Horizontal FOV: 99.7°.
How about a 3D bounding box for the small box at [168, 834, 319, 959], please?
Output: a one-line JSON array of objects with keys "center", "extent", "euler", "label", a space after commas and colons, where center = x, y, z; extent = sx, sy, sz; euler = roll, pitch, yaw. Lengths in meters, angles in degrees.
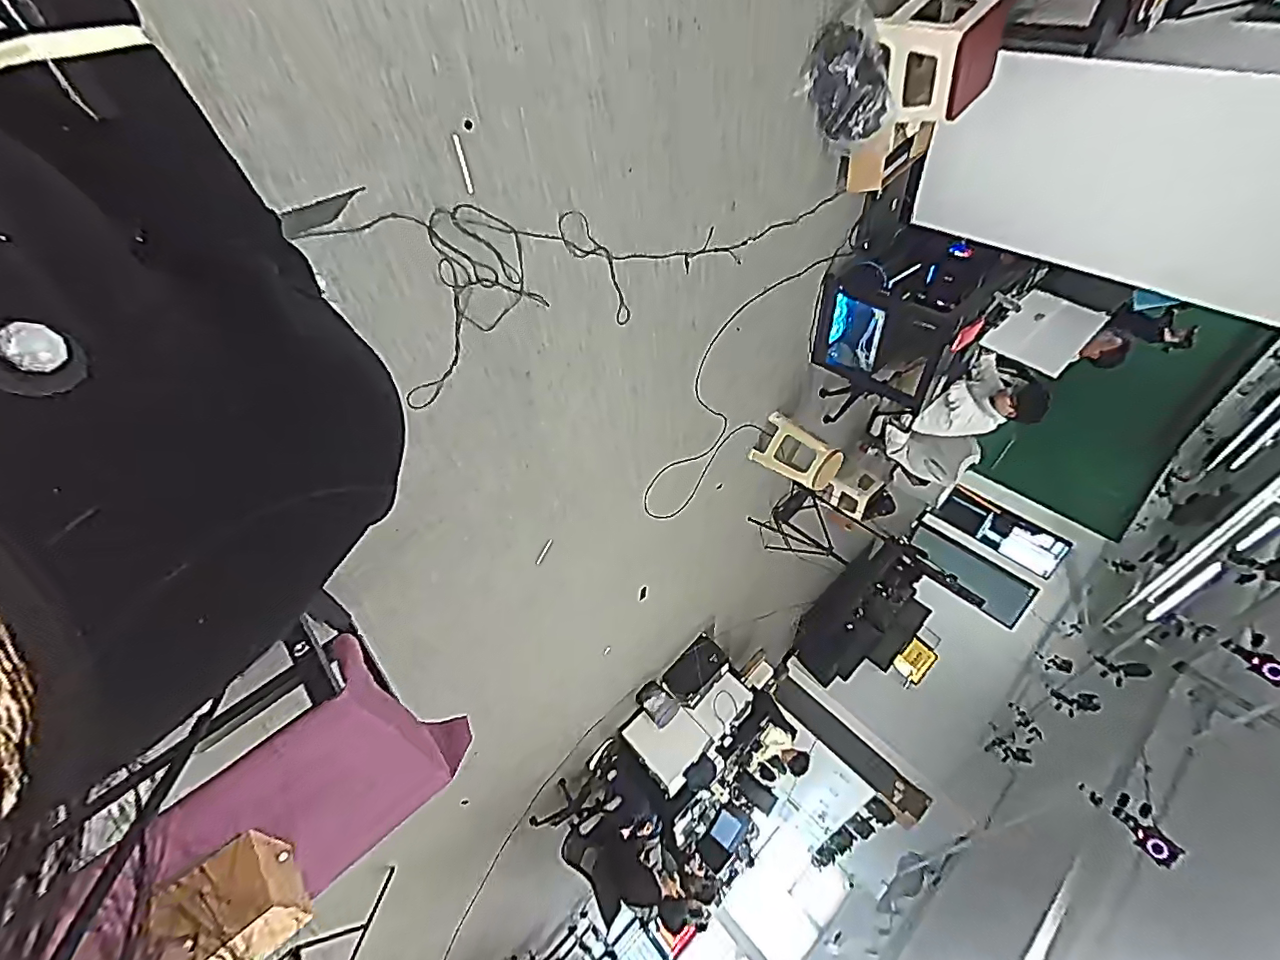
[{"center": [-0.781, 0.851, 1.065], "extent": [0.179, 0.176, 0.168], "euler": [-35, 144, -27], "label": "small box"}]
